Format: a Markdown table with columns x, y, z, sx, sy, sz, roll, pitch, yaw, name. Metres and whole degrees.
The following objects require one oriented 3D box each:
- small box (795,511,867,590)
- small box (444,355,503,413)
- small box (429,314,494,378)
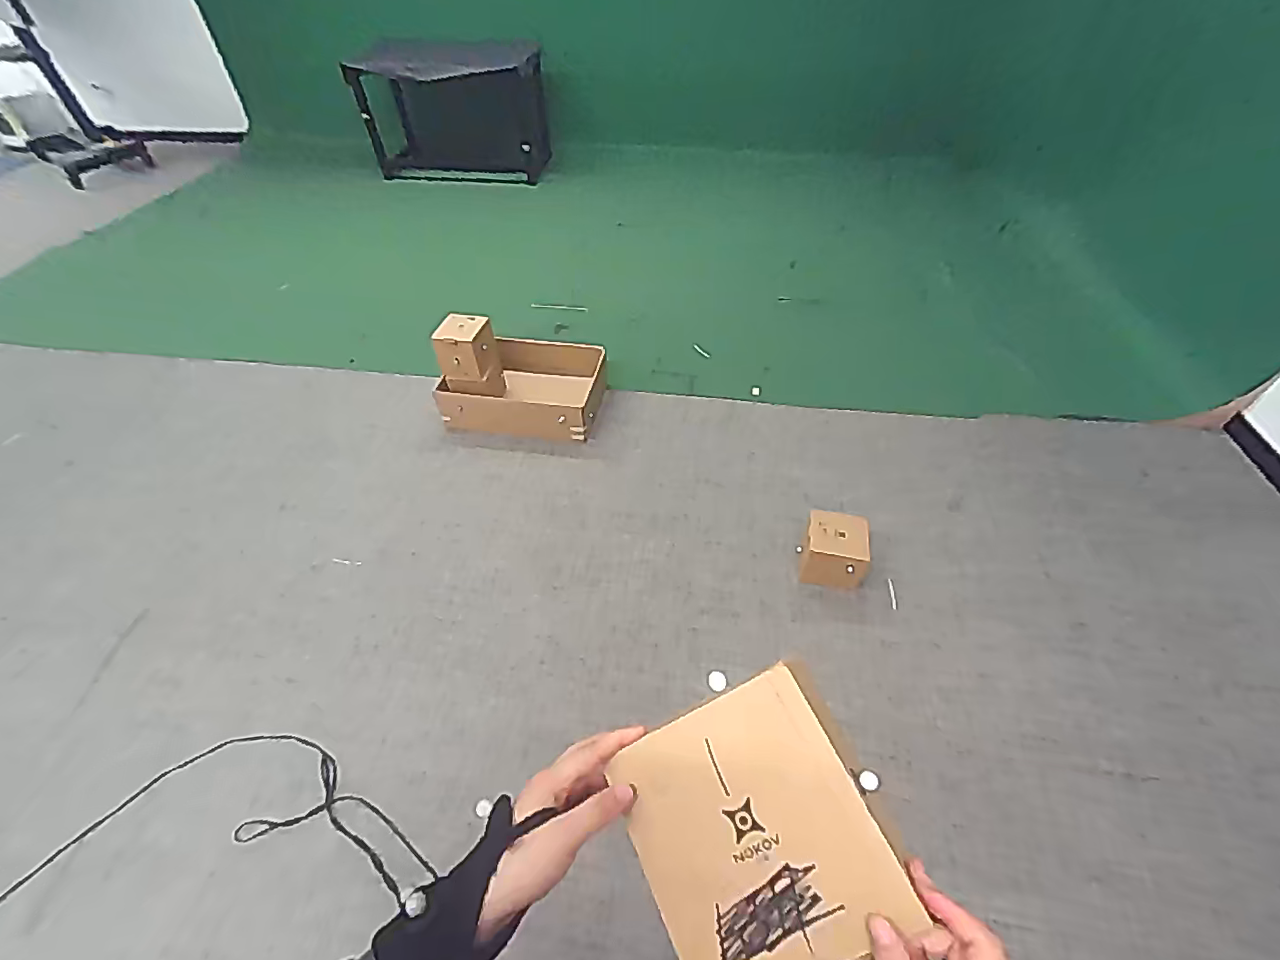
| x | y | z | sx | sy | sz | roll | pitch | yaw | name |
| --- | --- | --- | --- | --- | --- | --- | --- | --- | --- |
| 0.594 | 0.224 | 1.689 | 0.179 | 0.176 | 0.168 | 10 | 48 | 10 | small box |
| -0.671 | -0.397 | 2.206 | 0.168 | 0.176 | 0.179 | 4 | 50 | 5 | small box |
| -0.682 | -0.516 | 2.093 | 0.168 | 0.176 | 0.179 | 8 | 50 | 8 | small box |
